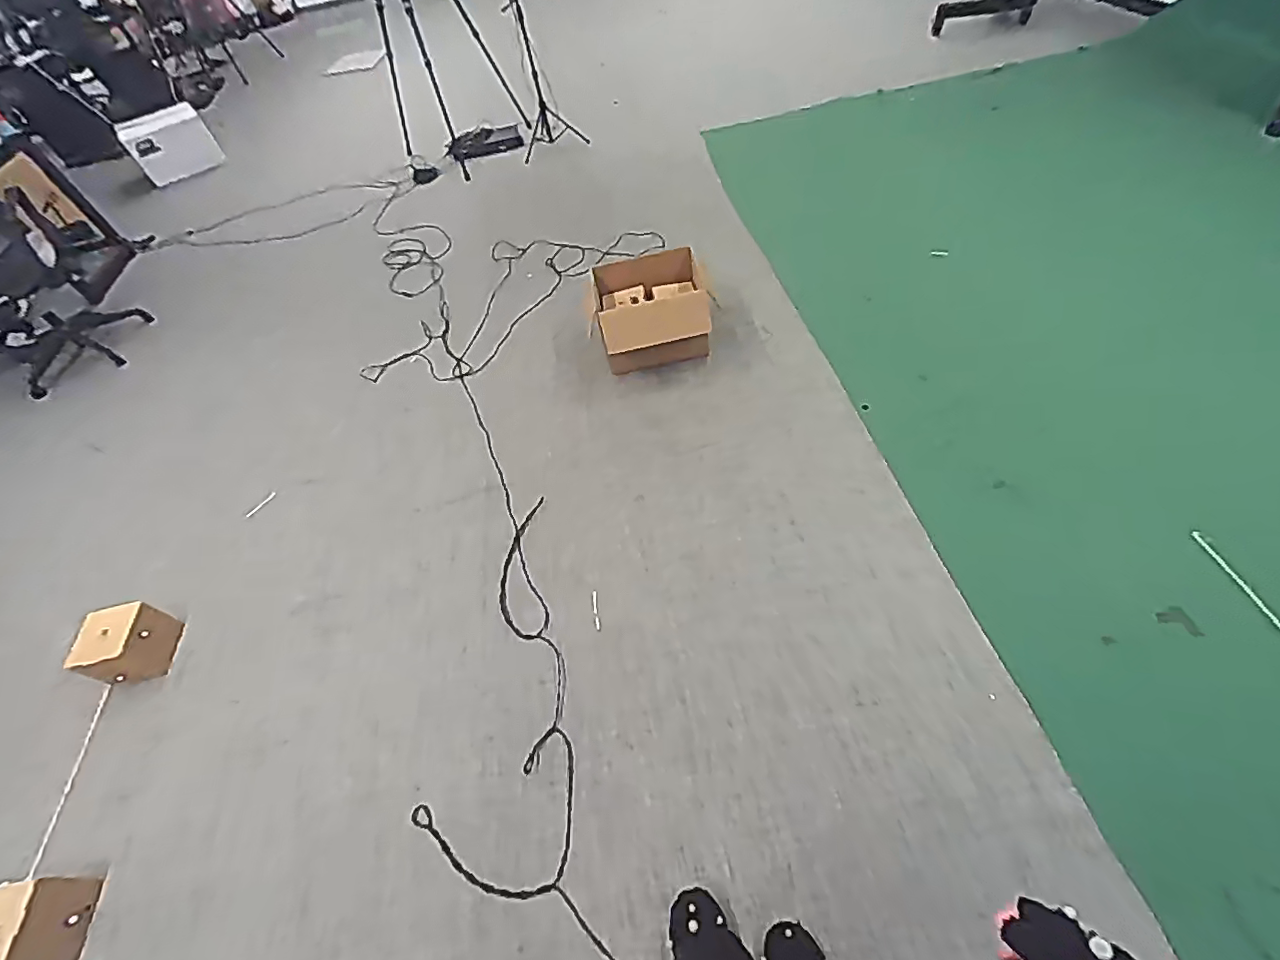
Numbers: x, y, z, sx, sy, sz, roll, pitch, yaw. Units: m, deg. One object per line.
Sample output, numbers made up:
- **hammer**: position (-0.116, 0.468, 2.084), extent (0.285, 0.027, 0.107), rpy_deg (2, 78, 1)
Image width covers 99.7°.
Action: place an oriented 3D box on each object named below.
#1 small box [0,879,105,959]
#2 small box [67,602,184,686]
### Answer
- **small box**: position (-1.401, 1.026, 1.226), extent (0.179, 0.176, 0.168), rpy_deg (-14, 53, 0)
- **small box**: position (-1.545, 0.499, 1.640), extent (0.168, 0.176, 0.179), rpy_deg (-13, 53, 0)
